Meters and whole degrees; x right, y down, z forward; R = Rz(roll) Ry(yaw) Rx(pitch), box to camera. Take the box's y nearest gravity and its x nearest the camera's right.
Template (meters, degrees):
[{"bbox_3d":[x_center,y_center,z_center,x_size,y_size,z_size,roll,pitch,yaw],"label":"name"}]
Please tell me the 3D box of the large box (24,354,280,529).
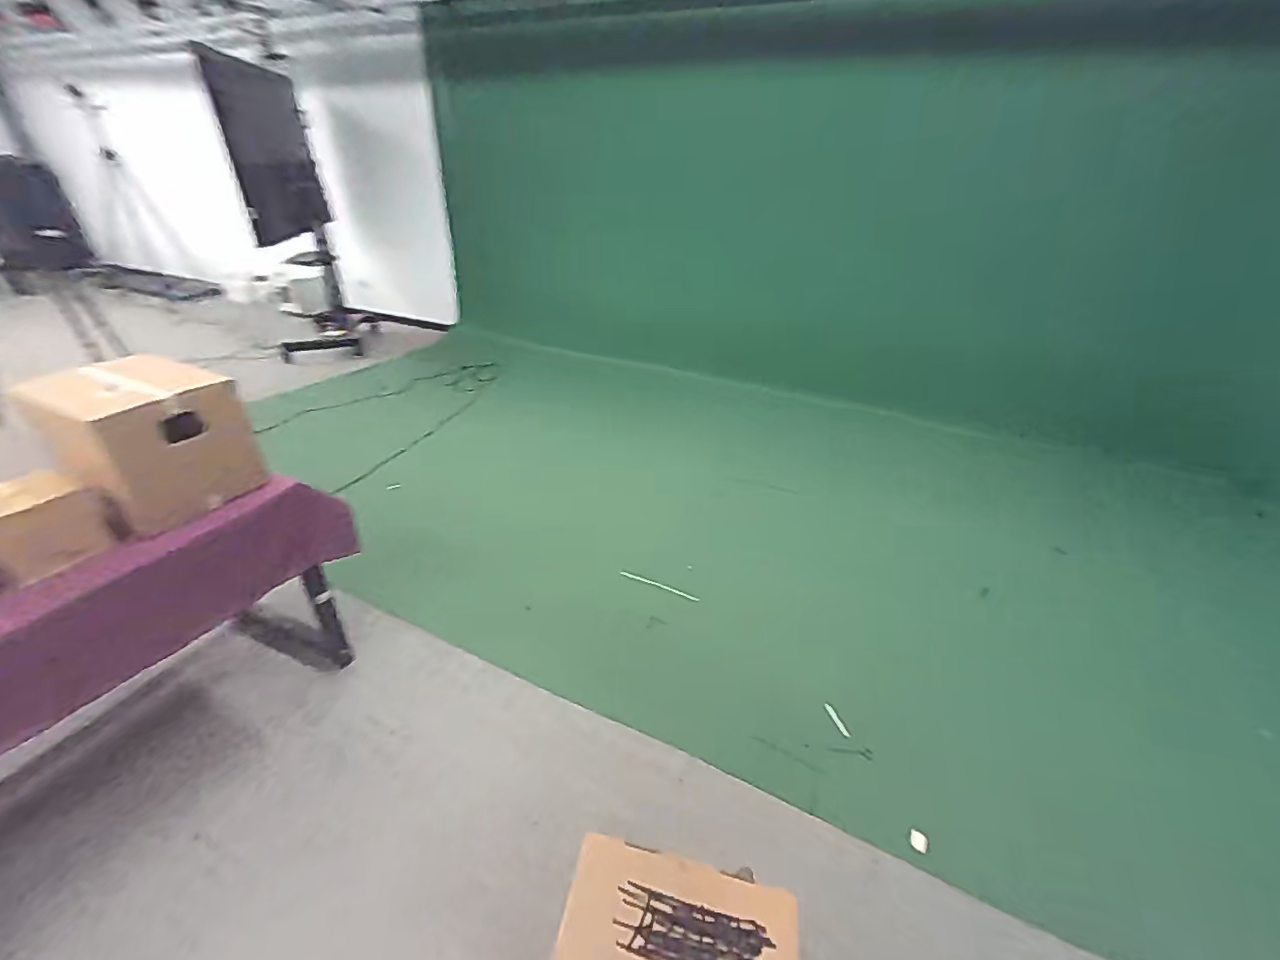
[{"bbox_3d":[-1.267,-0.116,1.436,0.408,0.320,0.320,17,33,21],"label":"large box"}]
